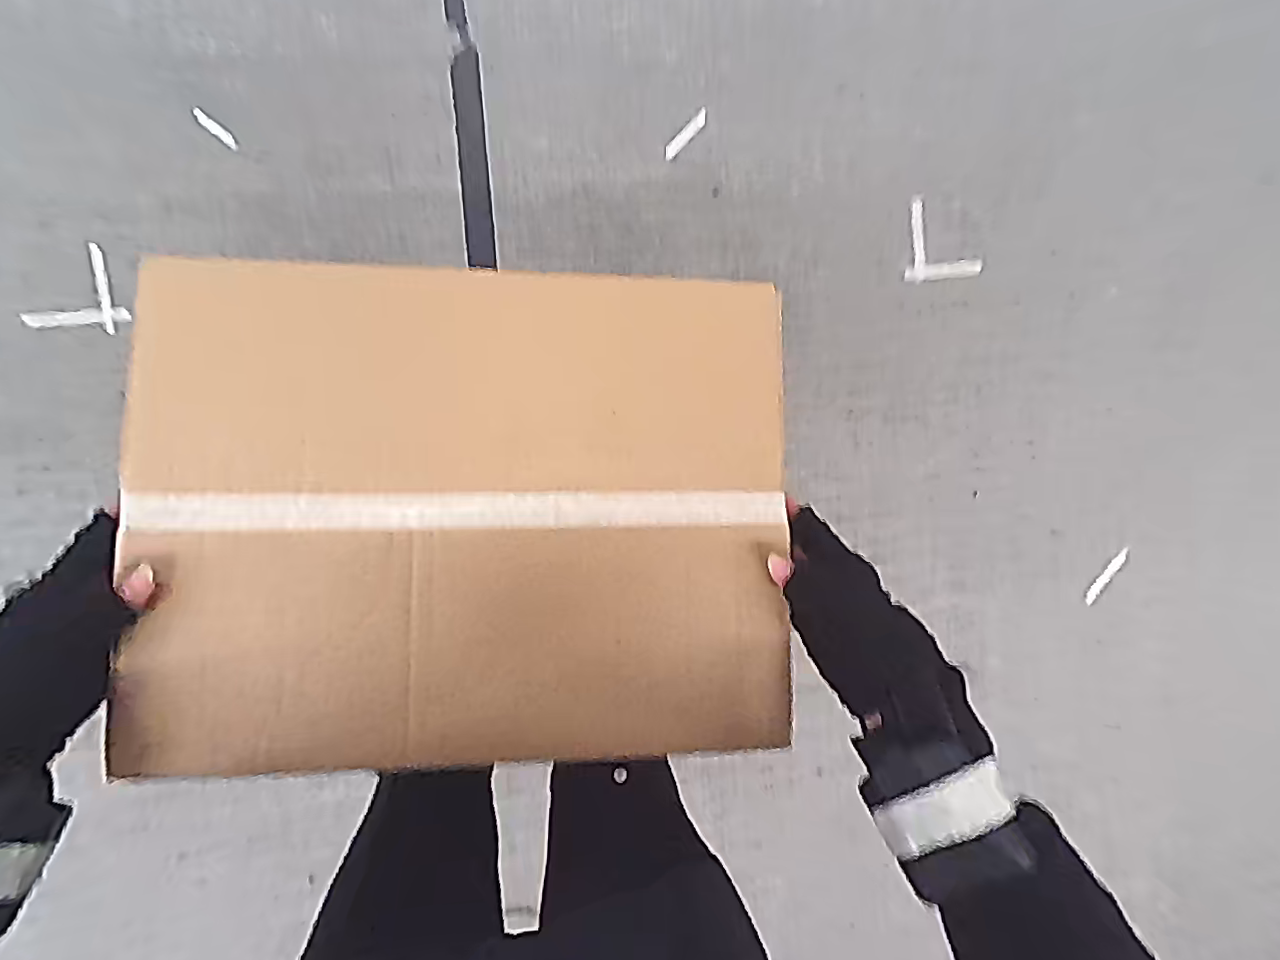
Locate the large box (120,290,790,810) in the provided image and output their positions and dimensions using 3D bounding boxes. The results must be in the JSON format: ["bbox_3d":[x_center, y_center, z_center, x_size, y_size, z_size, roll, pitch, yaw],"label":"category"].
[{"bbox_3d":[-0.116,0.044,0.487,0.408,0.320,0.320,0,84,-6],"label":"large box"}]
